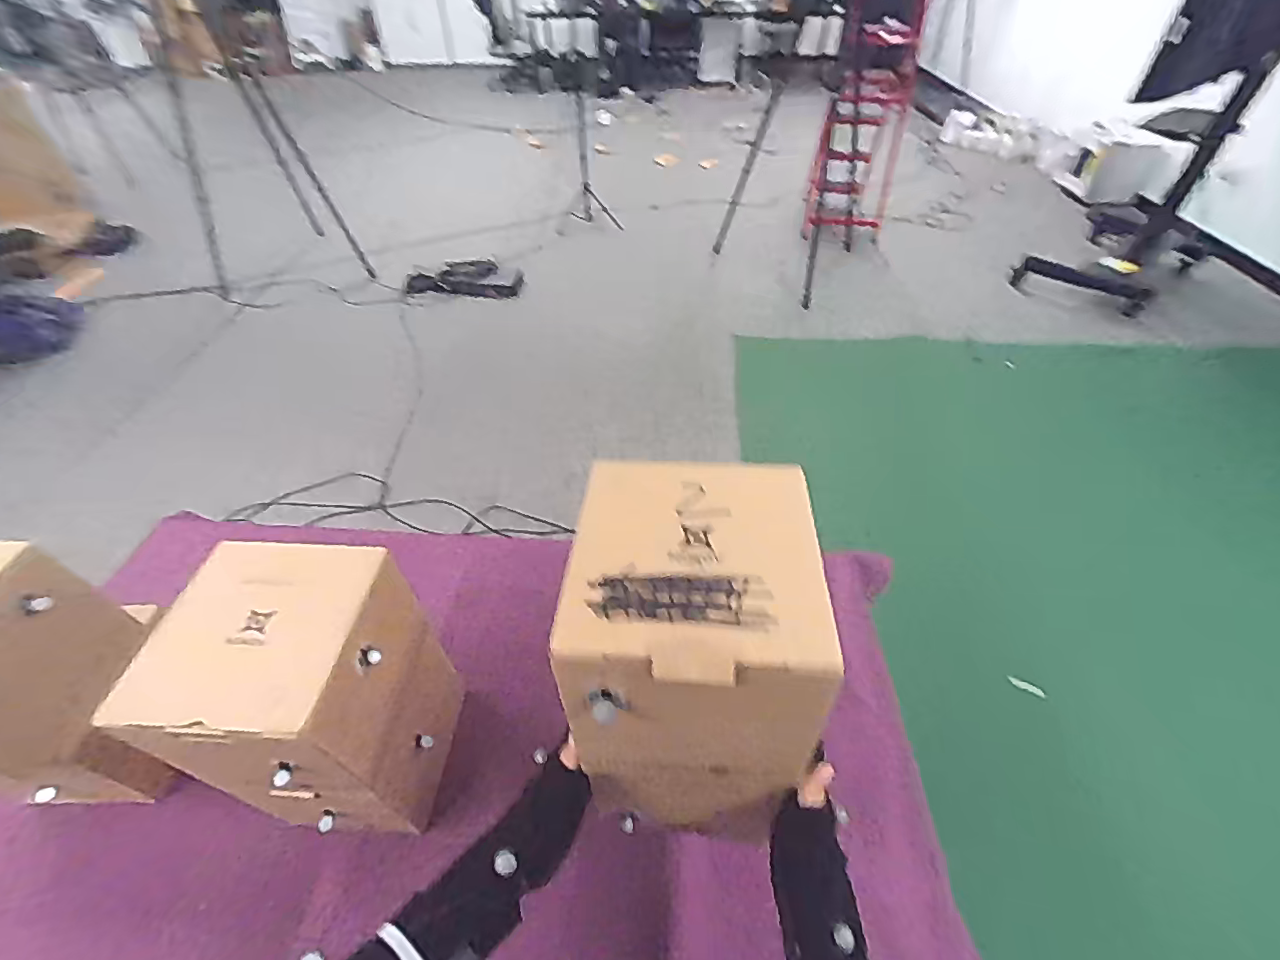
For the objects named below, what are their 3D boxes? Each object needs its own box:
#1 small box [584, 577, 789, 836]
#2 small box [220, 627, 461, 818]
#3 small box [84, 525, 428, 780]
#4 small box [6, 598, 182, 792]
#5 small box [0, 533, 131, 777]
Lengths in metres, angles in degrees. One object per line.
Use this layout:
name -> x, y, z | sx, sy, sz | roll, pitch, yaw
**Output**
small box -> 0.051, 0.223, 0.536 | 0.168, 0.176, 0.179 | 5, 42, 8
small box -> -0.327, 0.286, 0.641 | 0.168, 0.176, 0.179 | -1, 46, 2
small box -> -0.322, 0.163, 0.507 | 0.168, 0.176, 0.179 | 2, 47, 3
small box -> -0.664, 0.262, 0.662 | 0.168, 0.176, 0.179 | 0, 48, -1
small box -> -0.666, 0.167, 0.525 | 0.168, 0.176, 0.179 | 1, 48, 1
